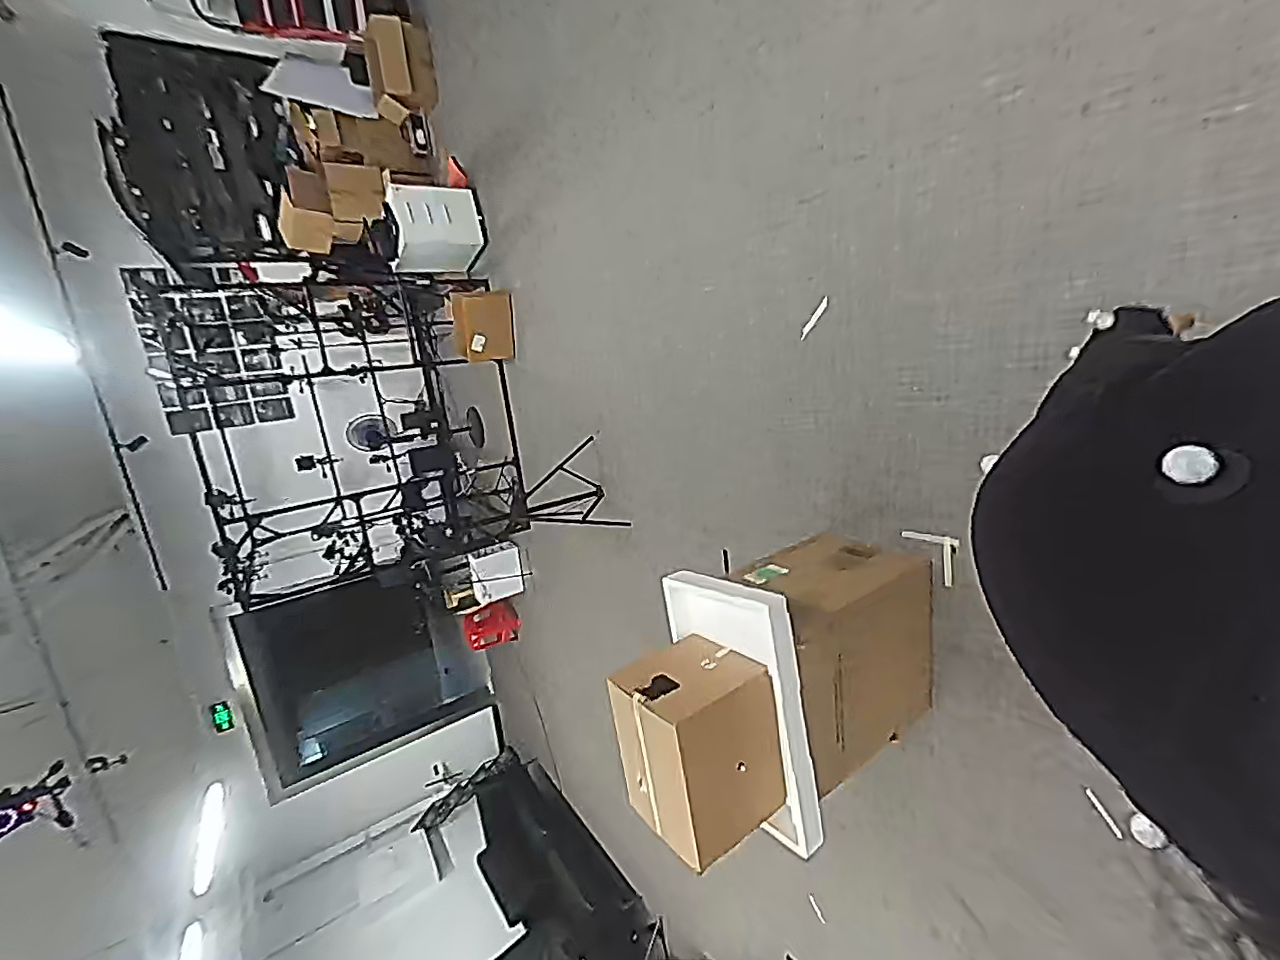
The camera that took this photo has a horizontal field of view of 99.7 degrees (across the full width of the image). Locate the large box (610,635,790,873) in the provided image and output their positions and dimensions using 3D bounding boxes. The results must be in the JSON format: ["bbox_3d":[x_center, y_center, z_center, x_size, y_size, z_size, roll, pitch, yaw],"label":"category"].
[{"bbox_3d":[0.159,0.685,1.432,0.320,0.320,0.408,7,110,58],"label":"large box"}]
